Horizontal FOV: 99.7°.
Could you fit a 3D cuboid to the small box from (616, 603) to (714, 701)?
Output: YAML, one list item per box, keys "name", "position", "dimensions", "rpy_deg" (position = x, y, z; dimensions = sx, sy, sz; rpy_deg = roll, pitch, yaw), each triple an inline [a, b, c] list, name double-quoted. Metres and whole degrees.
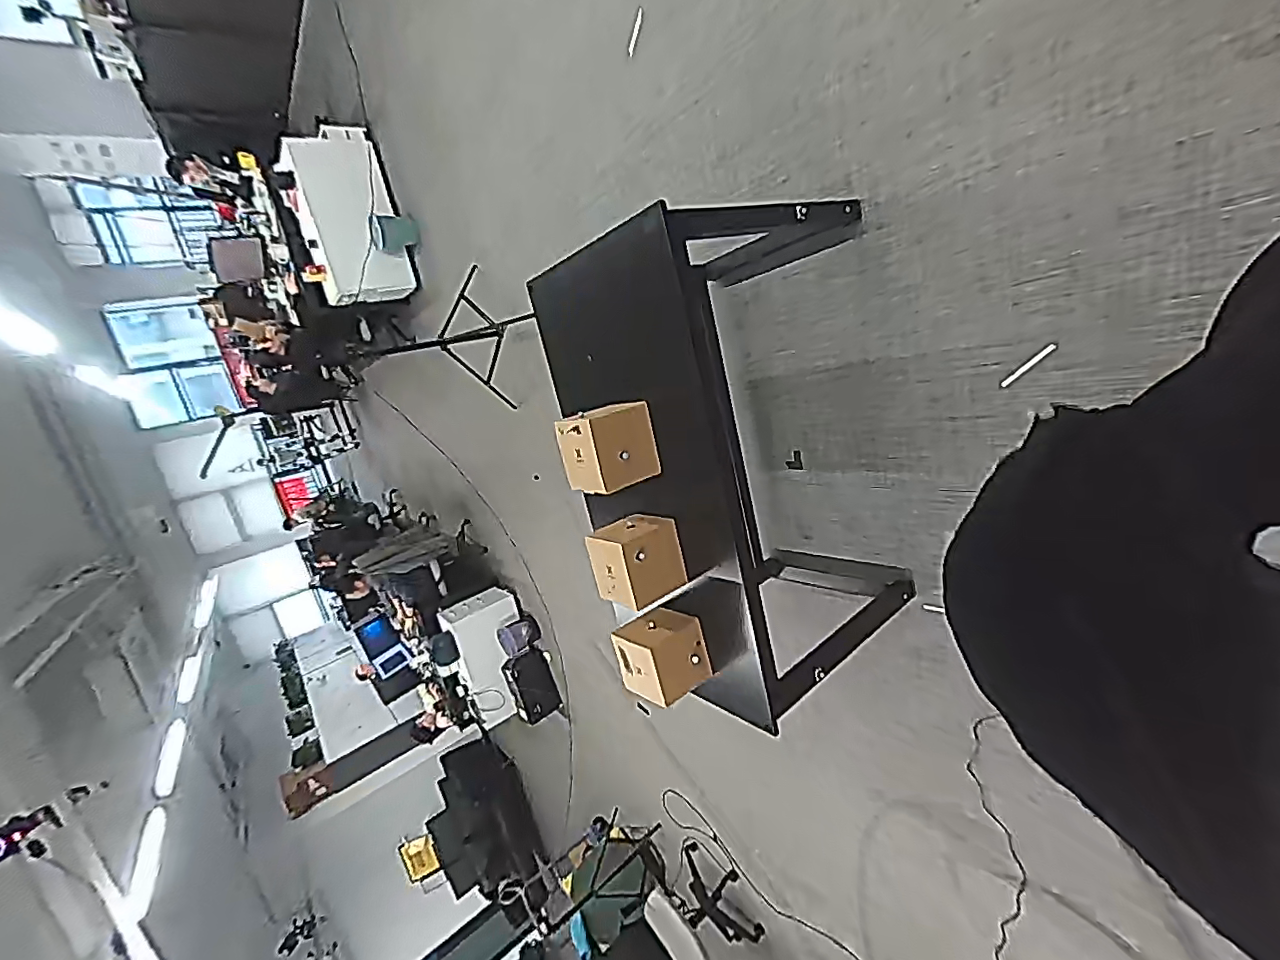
- name: "small box"
  position: [0.067, 0.441, 1.422]
  dimensions: [0.179, 0.176, 0.168]
  rpy_deg: [-1, 108, 54]

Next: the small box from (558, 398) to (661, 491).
- name: "small box"
  position: [-0.069, -0.089, 1.305]
  dimensions: [0.168, 0.176, 0.179]
  rpy_deg: [6, 114, 53]

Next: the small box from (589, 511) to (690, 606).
- name: "small box"
  position: [0.001, 0.188, 1.367]
  dimensions: [0.168, 0.176, 0.179]
  rpy_deg: [3, 112, 54]
